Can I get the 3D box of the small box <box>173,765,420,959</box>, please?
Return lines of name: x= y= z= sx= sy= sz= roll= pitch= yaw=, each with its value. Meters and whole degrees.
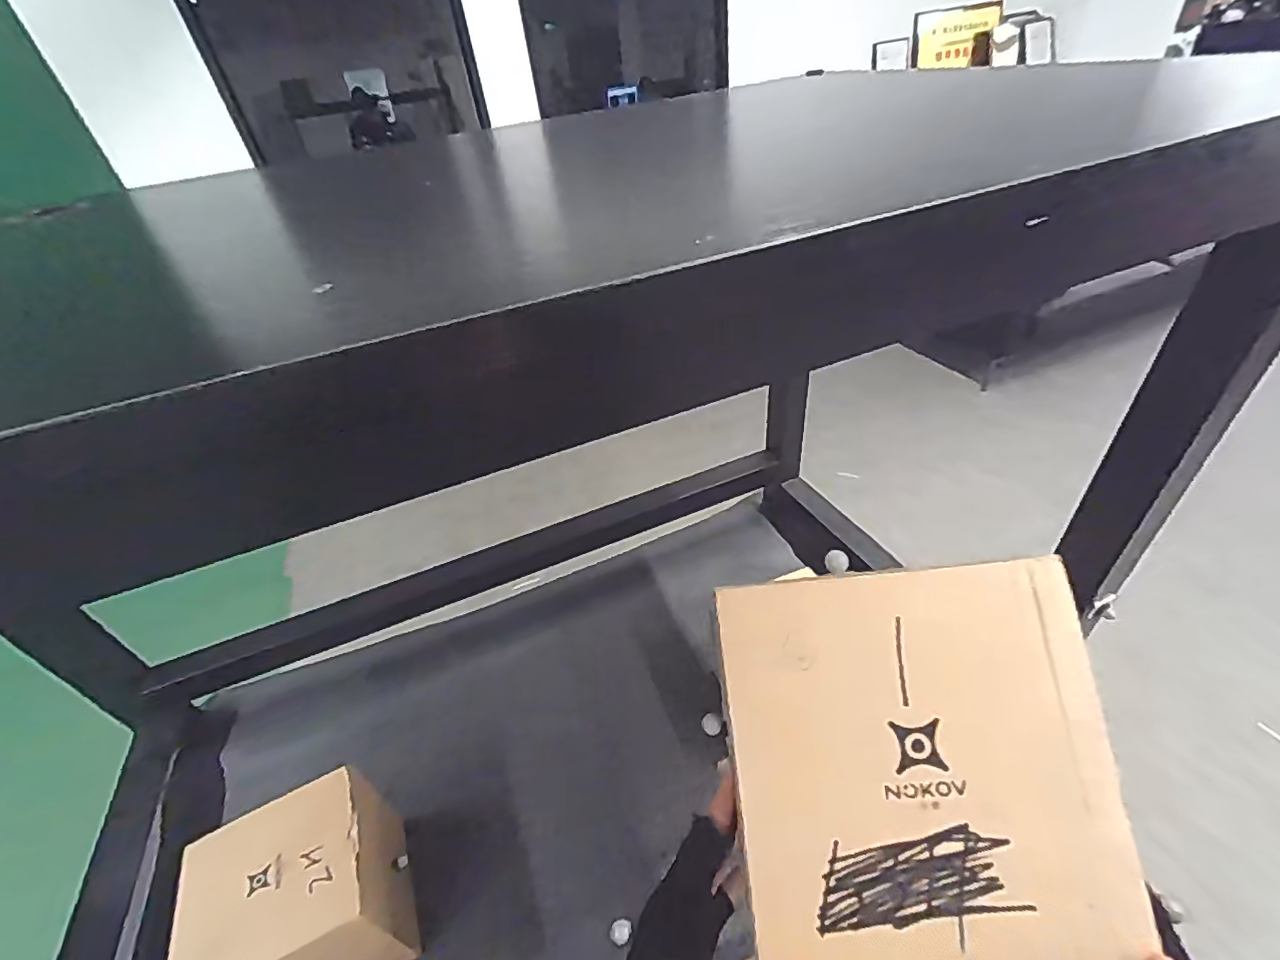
small box: x=-0.376 y=0.476 z=0.614 sx=0.179 sy=0.176 sz=0.168 roll=-22 pitch=40 yaw=-18
